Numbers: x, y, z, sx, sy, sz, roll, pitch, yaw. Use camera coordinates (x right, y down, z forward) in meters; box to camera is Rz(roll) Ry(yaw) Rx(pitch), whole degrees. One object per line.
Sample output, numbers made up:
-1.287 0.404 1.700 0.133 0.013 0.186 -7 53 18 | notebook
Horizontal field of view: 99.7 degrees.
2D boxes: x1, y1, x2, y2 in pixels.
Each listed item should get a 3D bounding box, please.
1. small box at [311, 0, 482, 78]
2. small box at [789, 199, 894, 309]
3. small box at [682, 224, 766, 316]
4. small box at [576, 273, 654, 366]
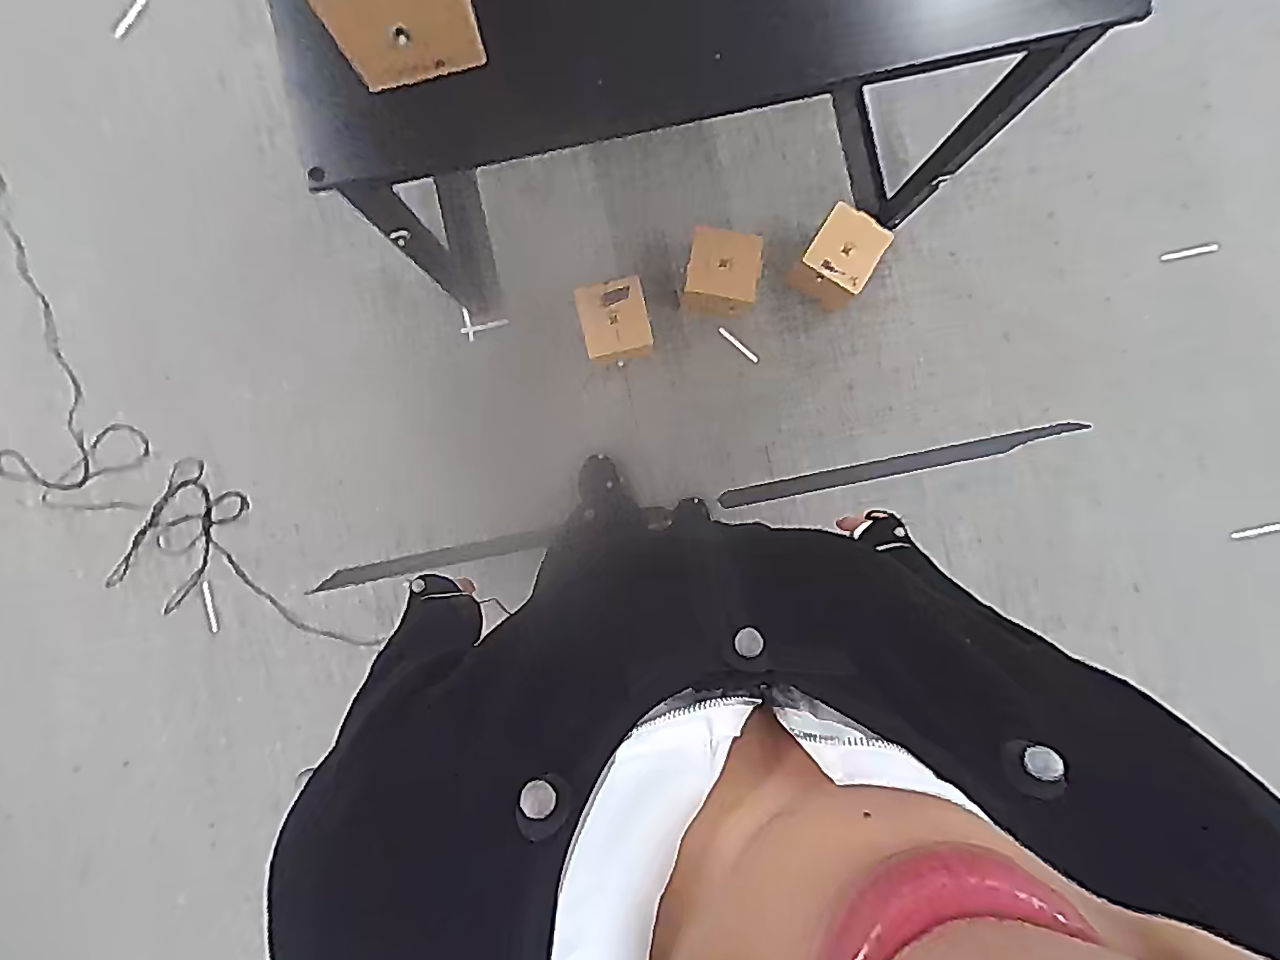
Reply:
-0.311 -0.642 0.667 0.168 0.176 0.179 -14 91 -1 | small box
0.511 -0.577 1.404 0.168 0.176 0.179 32 92 -1 | small box
0.211 -0.536 1.406 0.179 0.176 0.168 9 91 0 | small box
-0.063 -0.410 1.407 0.168 0.176 0.179 -13 93 0 | small box
